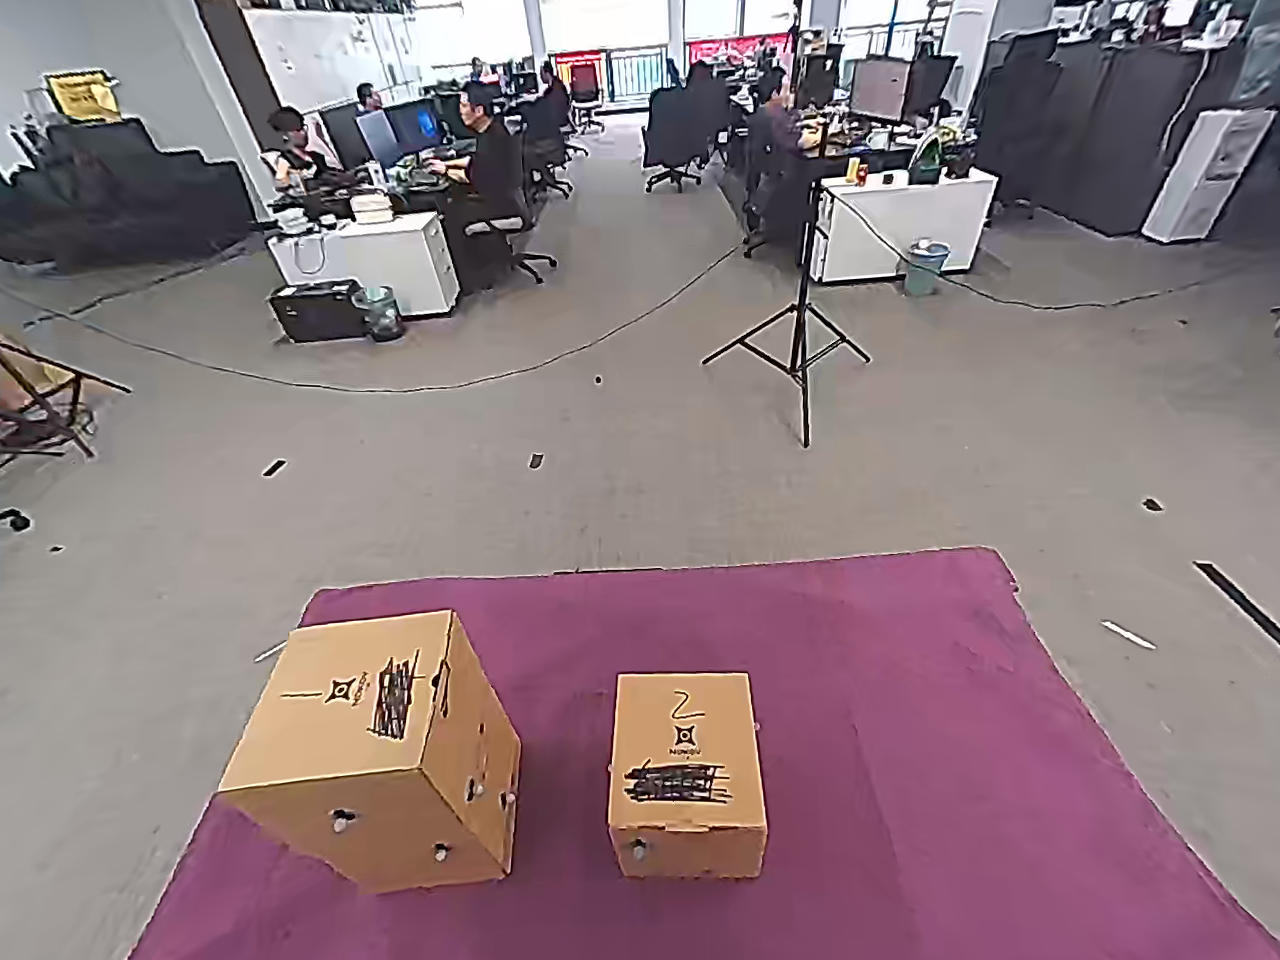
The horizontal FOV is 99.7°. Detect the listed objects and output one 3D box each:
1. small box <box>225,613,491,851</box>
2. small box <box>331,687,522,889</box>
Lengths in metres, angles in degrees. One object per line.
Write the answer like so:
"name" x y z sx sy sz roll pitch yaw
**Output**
"small box" -0.268 0.265 0.571 0.179 0.176 0.168 -7 40 -1
"small box" -0.258 0.388 0.680 0.179 0.176 0.168 -6 40 -2
